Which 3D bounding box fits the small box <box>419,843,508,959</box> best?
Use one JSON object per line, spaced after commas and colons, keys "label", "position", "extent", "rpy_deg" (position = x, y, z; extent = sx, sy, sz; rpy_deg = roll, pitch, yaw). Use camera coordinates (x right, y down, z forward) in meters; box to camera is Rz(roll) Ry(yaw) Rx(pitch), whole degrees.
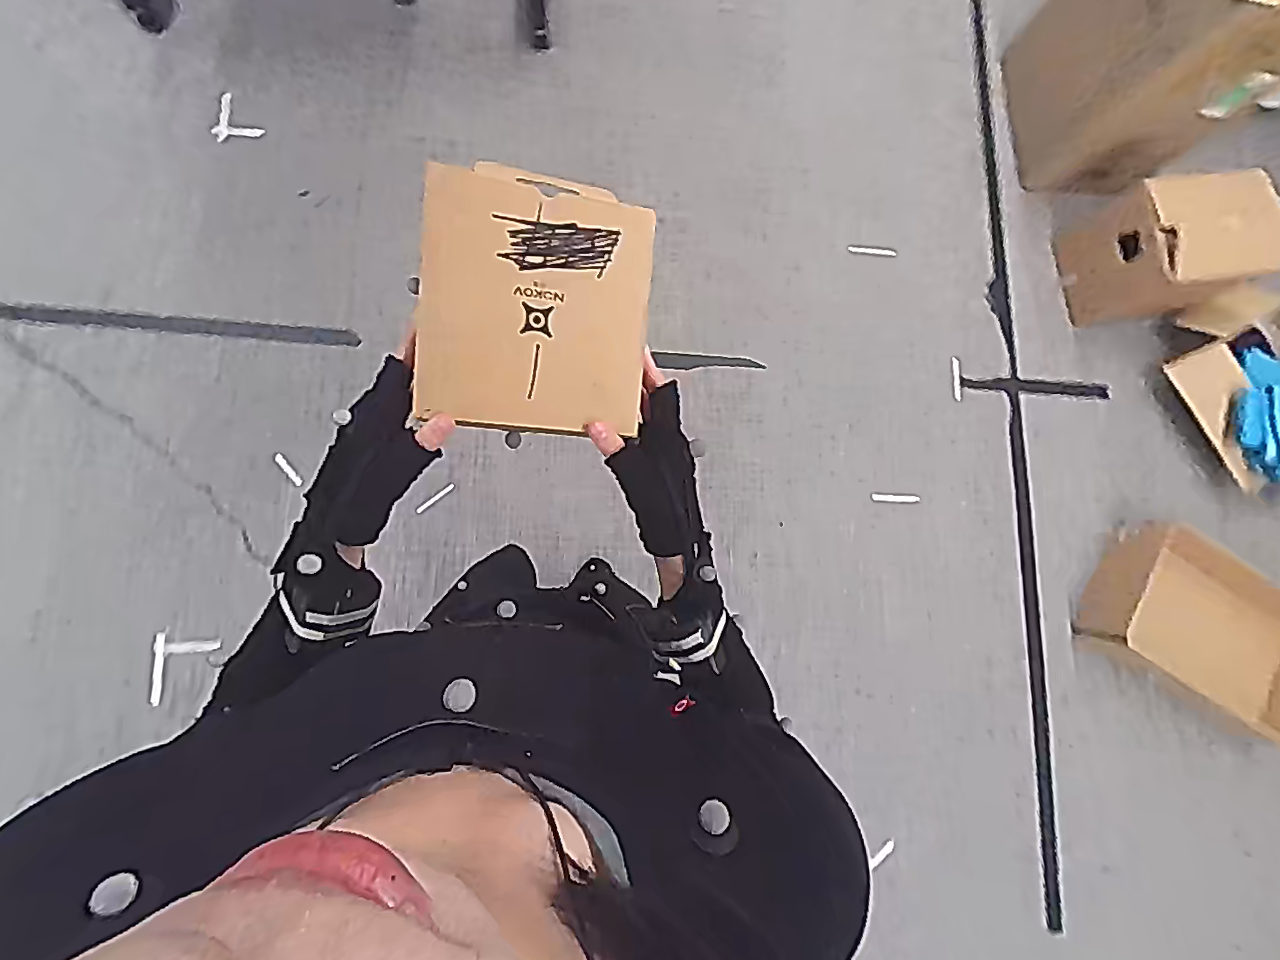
{"label": "small box", "position": [-0.418, 1.017, 1.308], "extent": [0.168, 0.176, 0.179], "rpy_deg": [5, 81, -7]}

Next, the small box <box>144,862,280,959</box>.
{"label": "small box", "position": [-0.979, 1.014, 1.244], "extent": [0.179, 0.176, 0.168], "rpy_deg": [5, 81, -5]}
